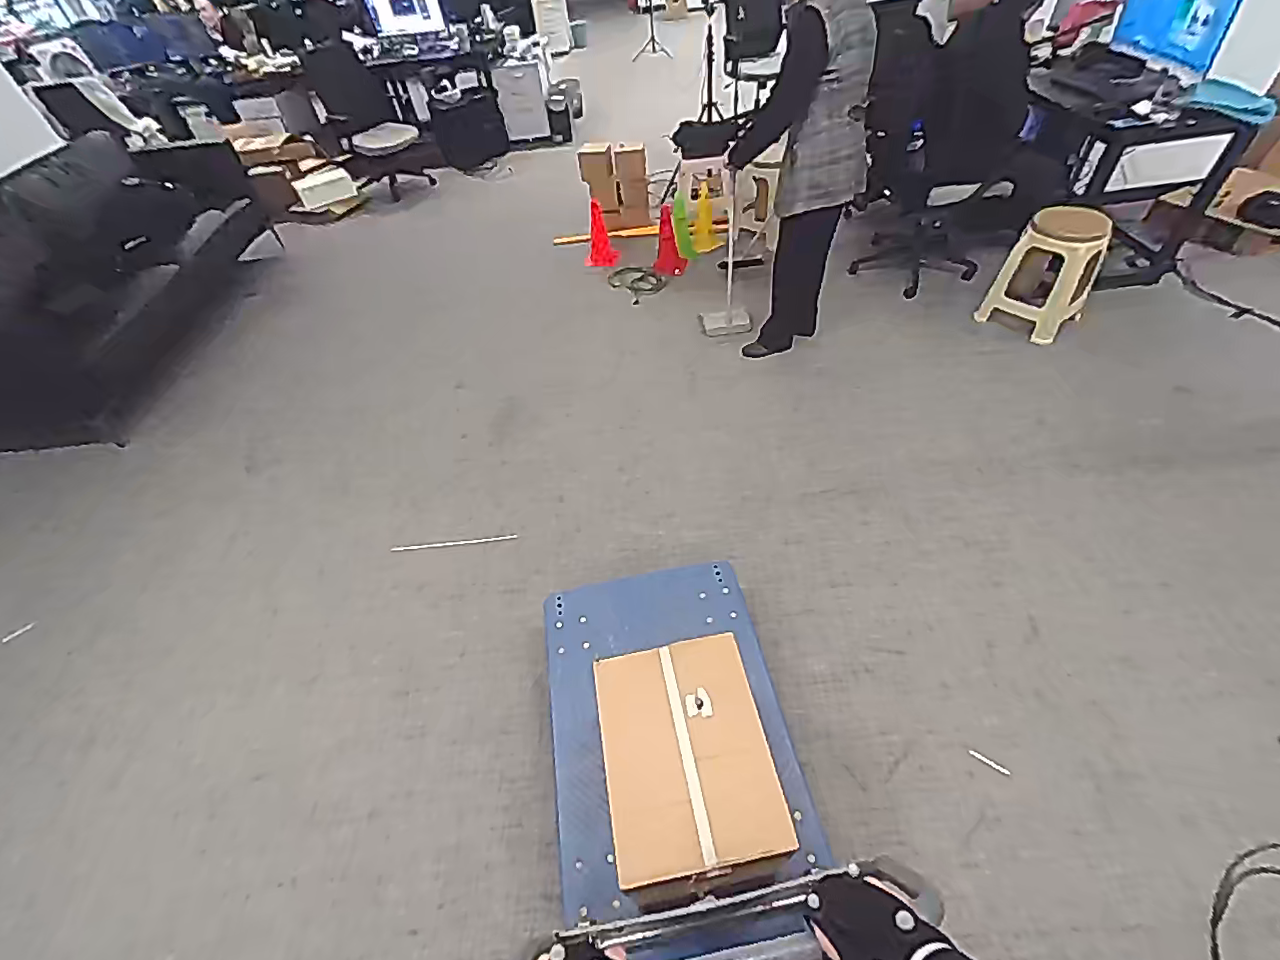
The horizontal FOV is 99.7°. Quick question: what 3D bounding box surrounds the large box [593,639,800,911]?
[{"bbox_3d":[0.101,0.616,1.144,0.320,0.320,0.408,-11,47,-4],"label":"large box"}]
